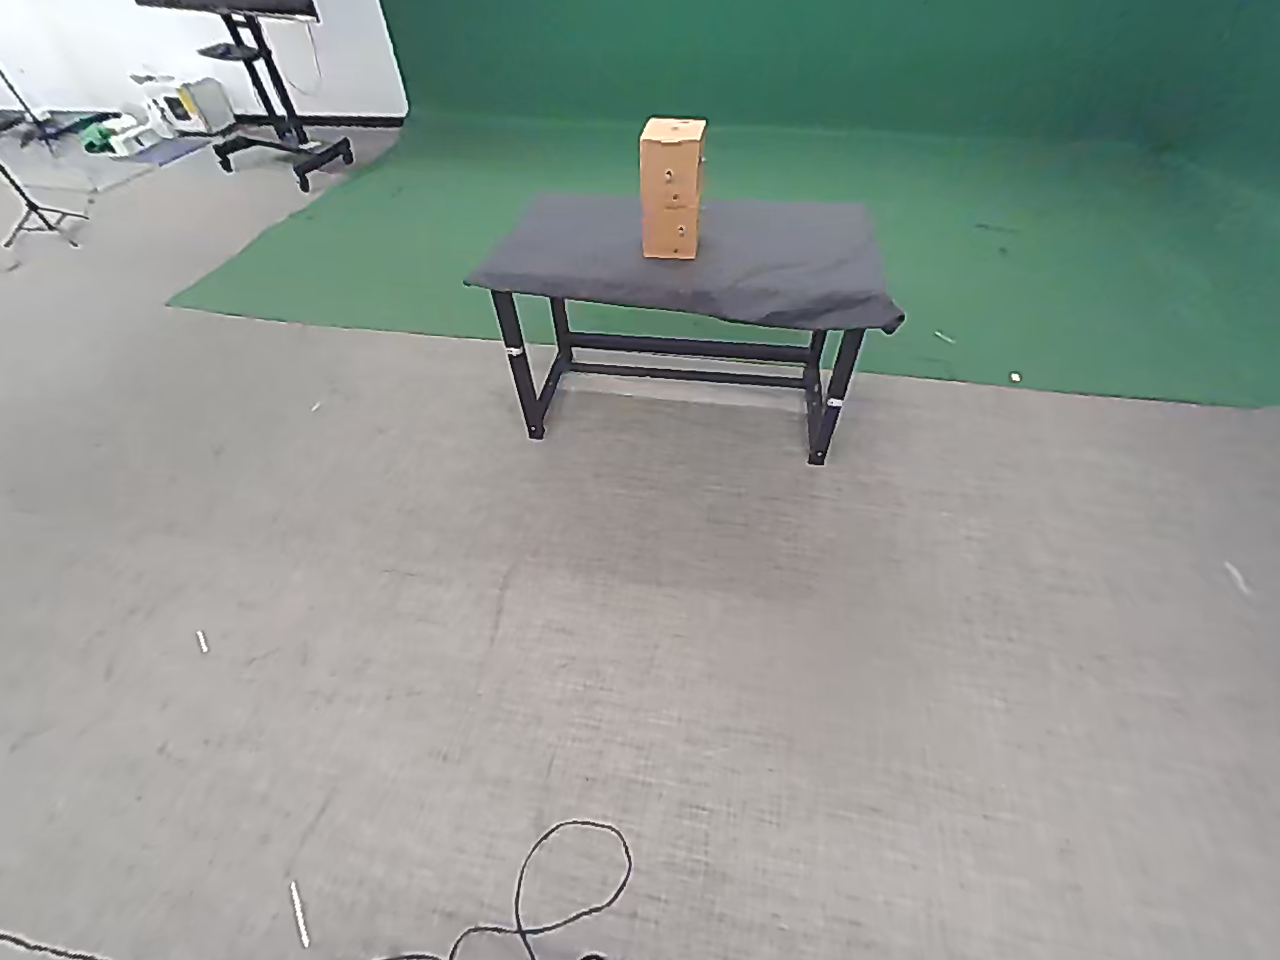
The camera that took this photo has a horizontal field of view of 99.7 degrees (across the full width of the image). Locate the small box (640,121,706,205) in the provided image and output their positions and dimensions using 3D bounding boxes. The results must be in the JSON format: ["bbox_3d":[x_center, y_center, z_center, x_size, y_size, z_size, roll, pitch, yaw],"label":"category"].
[{"bbox_3d":[0.097,-0.922,1.577,0.168,0.176,0.179,8,51,7],"label":"small box"}]

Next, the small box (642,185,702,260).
[{"bbox_3d":[0.102,-0.811,1.698,0.168,0.176,0.179,6,49,6],"label":"small box"}]
